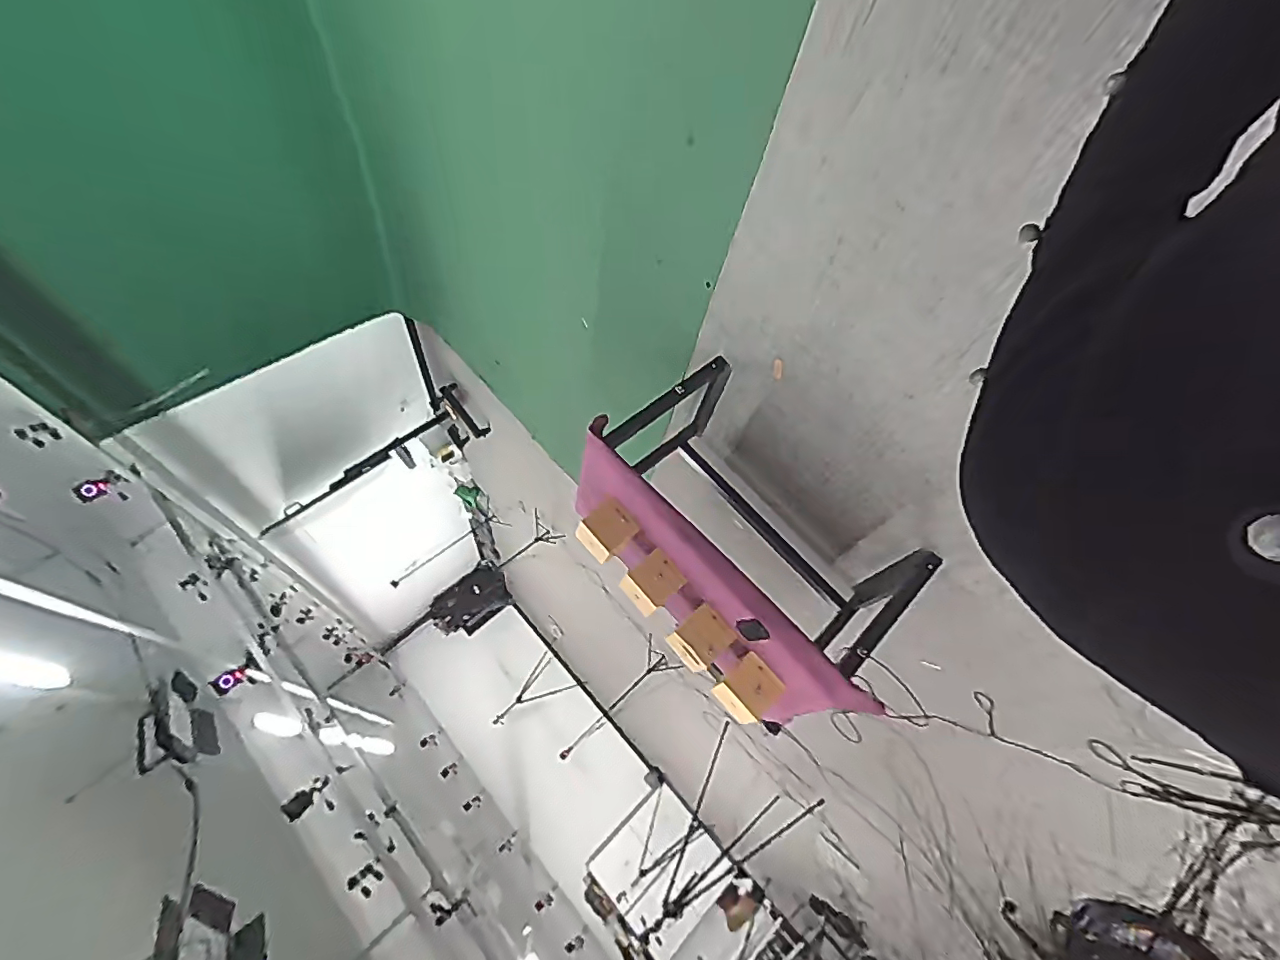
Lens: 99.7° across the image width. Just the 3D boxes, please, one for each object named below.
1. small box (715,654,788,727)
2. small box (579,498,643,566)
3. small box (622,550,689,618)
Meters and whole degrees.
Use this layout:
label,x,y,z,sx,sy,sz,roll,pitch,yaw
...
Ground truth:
label,x,y,z,sx,sy,sz,roll,pitch,yaw
small box,0.398,0.742,1.915,0.168,0.176,0.179,45,154,16
small box,-0.112,0.201,2.079,0.168,0.176,0.179,47,154,9
small box,0.061,0.389,2.027,0.168,0.176,0.179,48,154,11
